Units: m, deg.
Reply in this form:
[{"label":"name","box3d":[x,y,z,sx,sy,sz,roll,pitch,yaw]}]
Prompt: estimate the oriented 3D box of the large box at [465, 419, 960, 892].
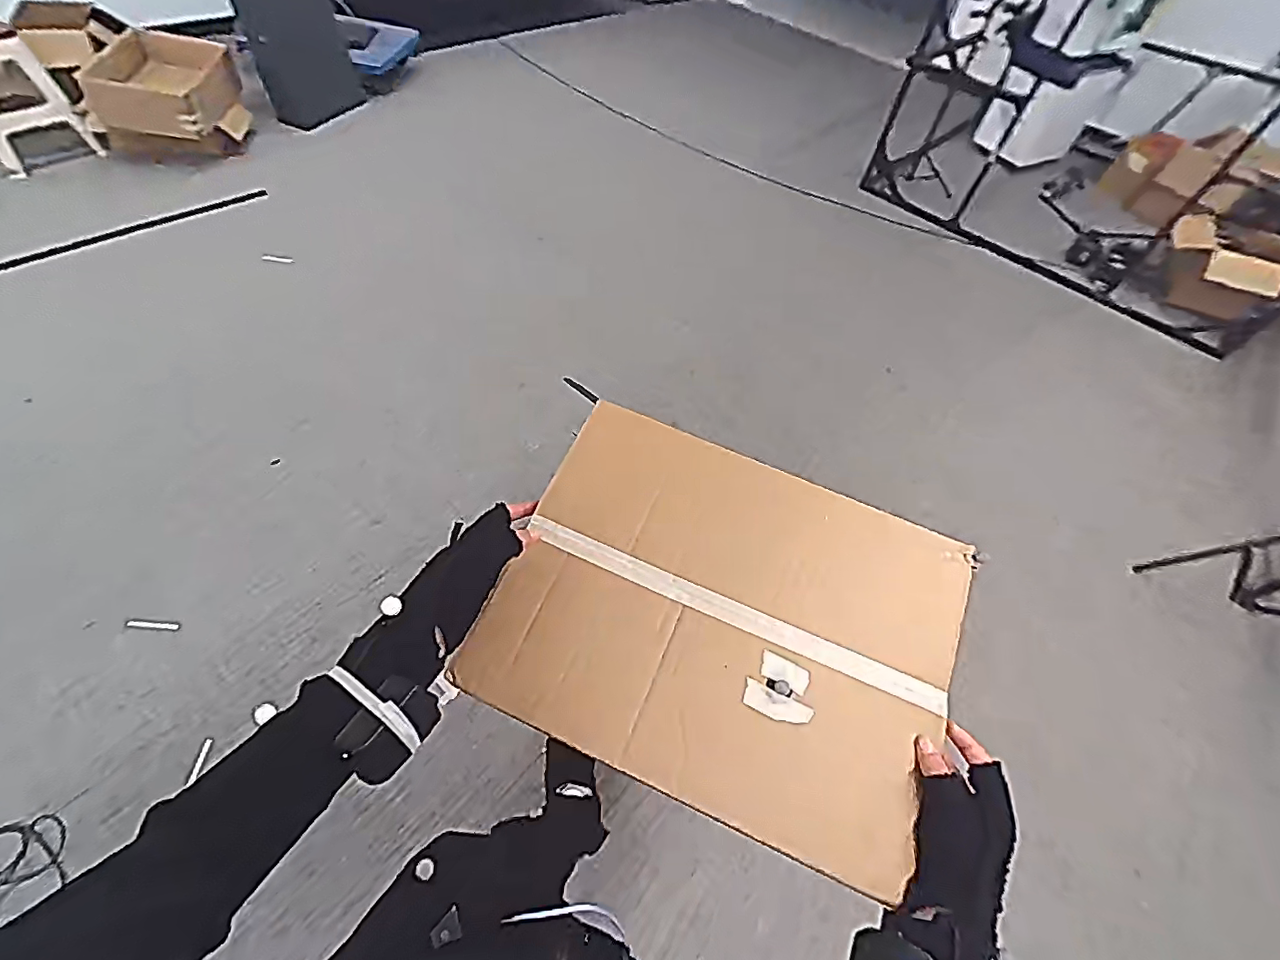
[{"label":"large box","box3d":[0.076,0.190,0.644,0.408,0.320,0.320,23,67,8]}]
